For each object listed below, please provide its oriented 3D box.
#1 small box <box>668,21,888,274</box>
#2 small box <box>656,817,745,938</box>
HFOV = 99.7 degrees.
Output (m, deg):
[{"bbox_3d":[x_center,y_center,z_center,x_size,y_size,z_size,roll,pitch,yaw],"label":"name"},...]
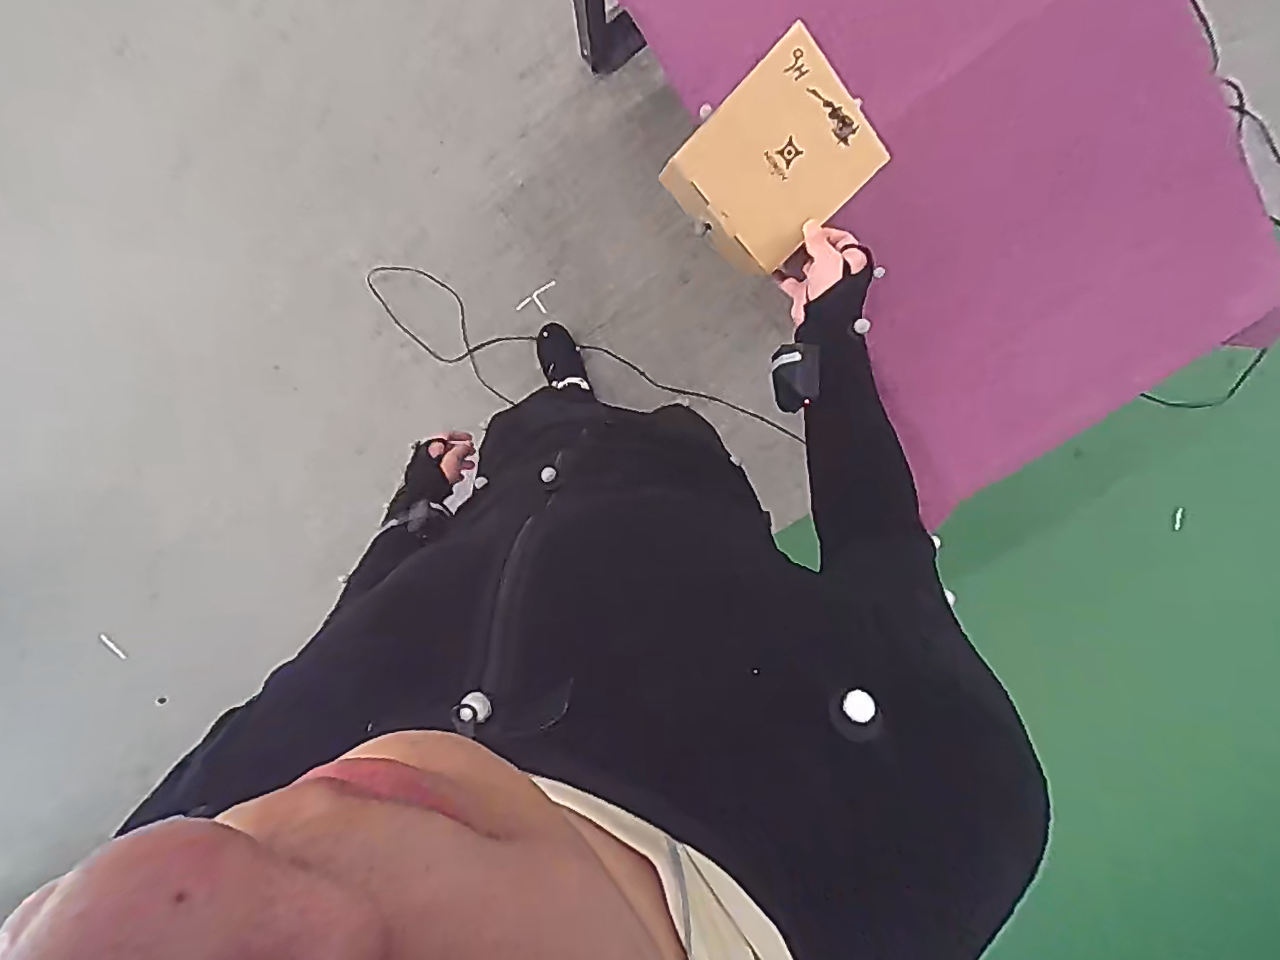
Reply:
[{"bbox_3d":[0.147,-0.371,0.644,0.179,0.176,0.168,-42,108,14],"label":"small box"},{"bbox_3d":[0.158,1.077,1.477,0.168,0.176,0.179,-40,99,8],"label":"small box"}]
